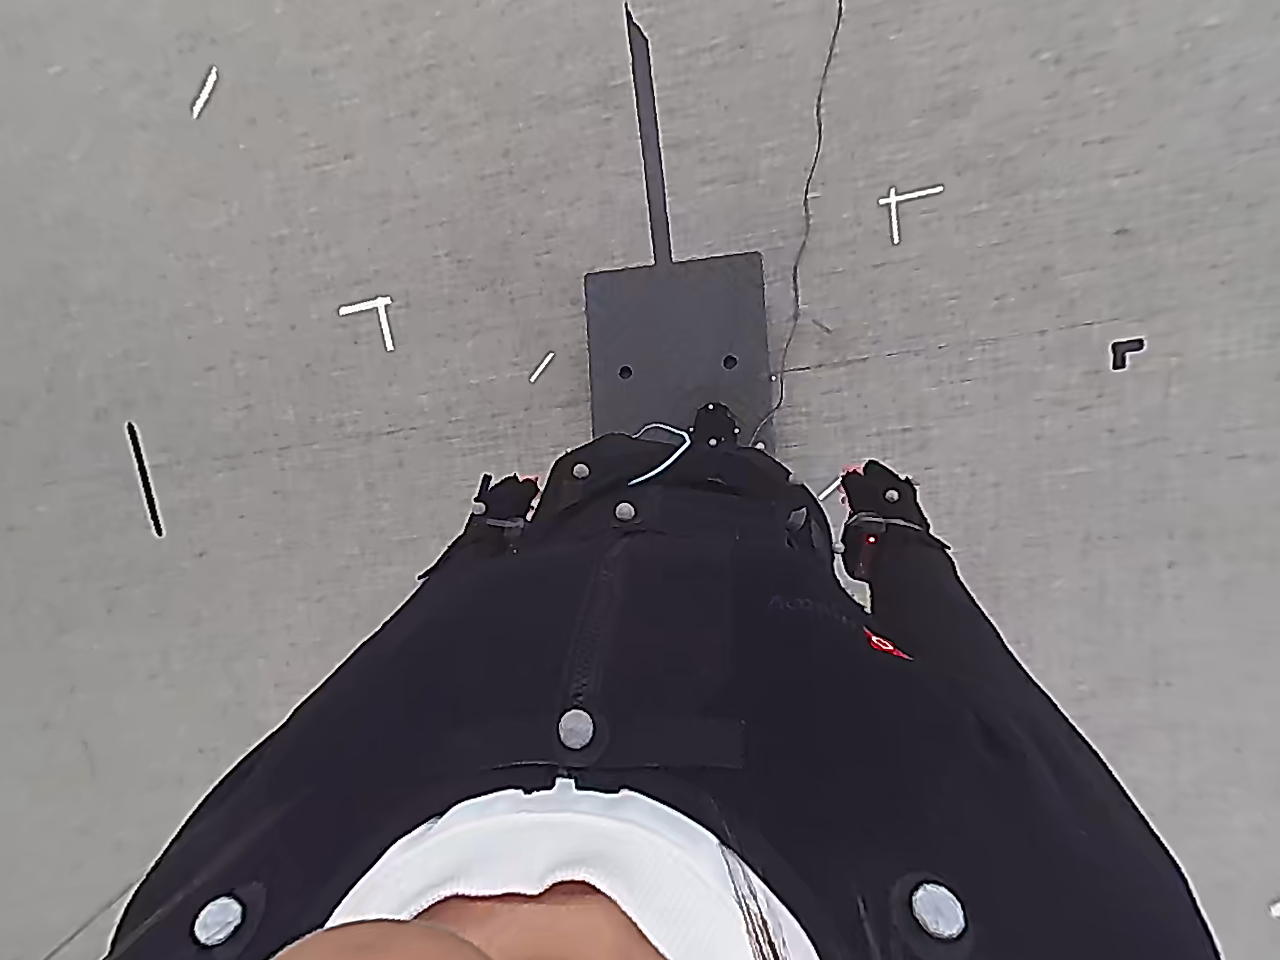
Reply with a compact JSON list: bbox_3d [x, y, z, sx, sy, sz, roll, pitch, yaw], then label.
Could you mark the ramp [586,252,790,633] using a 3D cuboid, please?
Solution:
[{"bbox_3d":[0.116,-0.097,1.460,0.509,0.206,0.991,-6,96,10],"label":"ramp"}]
